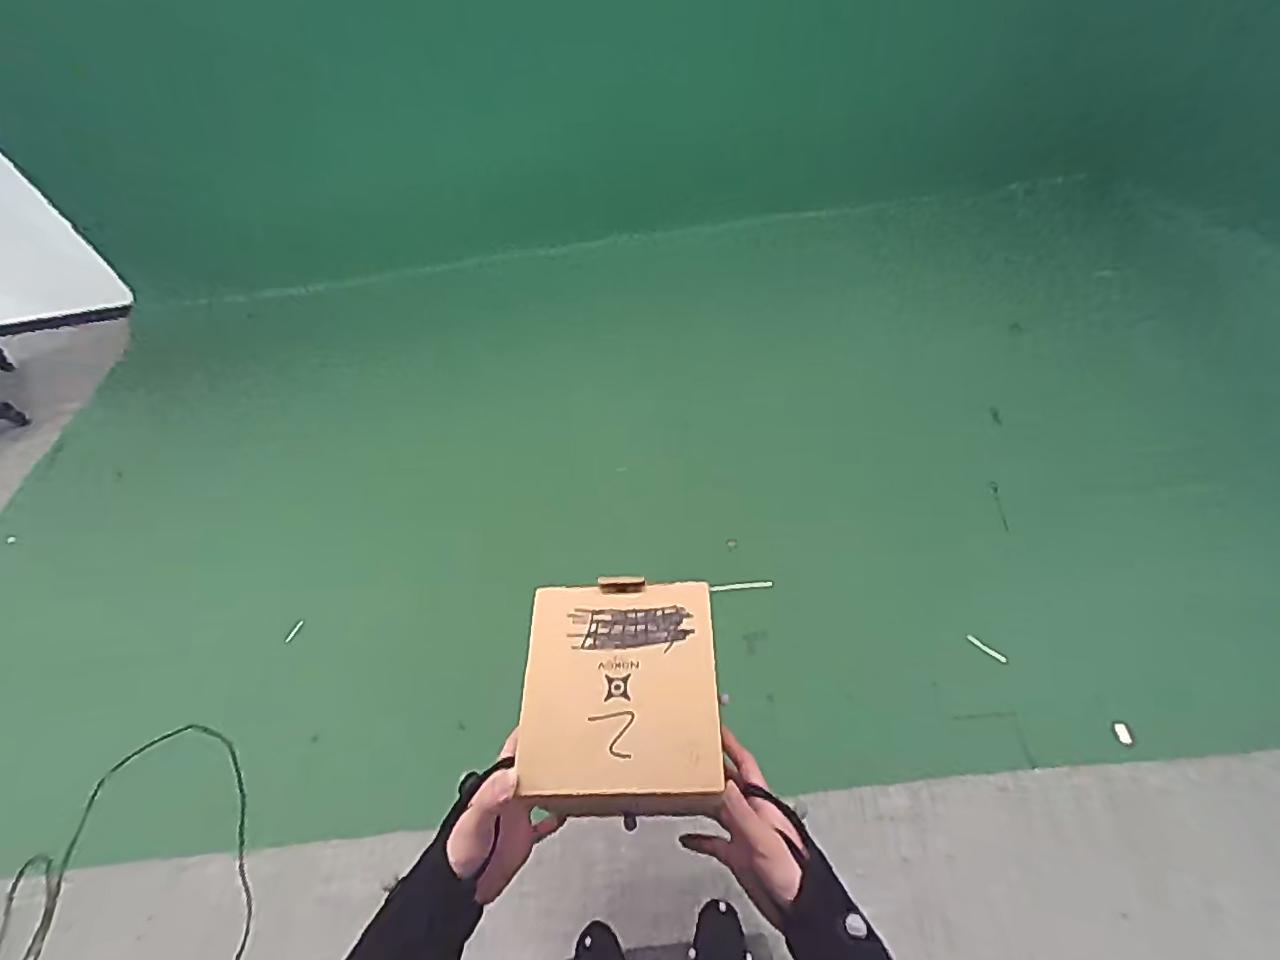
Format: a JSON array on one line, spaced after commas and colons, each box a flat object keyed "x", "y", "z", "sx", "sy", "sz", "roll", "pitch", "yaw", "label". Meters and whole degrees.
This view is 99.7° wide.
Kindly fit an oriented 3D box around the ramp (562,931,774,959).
[{"x": 0.109, "y": 1.490, "z": 0.993, "sx": 0.509, "sy": 0.206, "sz": 0.991, "roll": -9, "pitch": 53, "yaw": 0, "label": "ramp"}]
